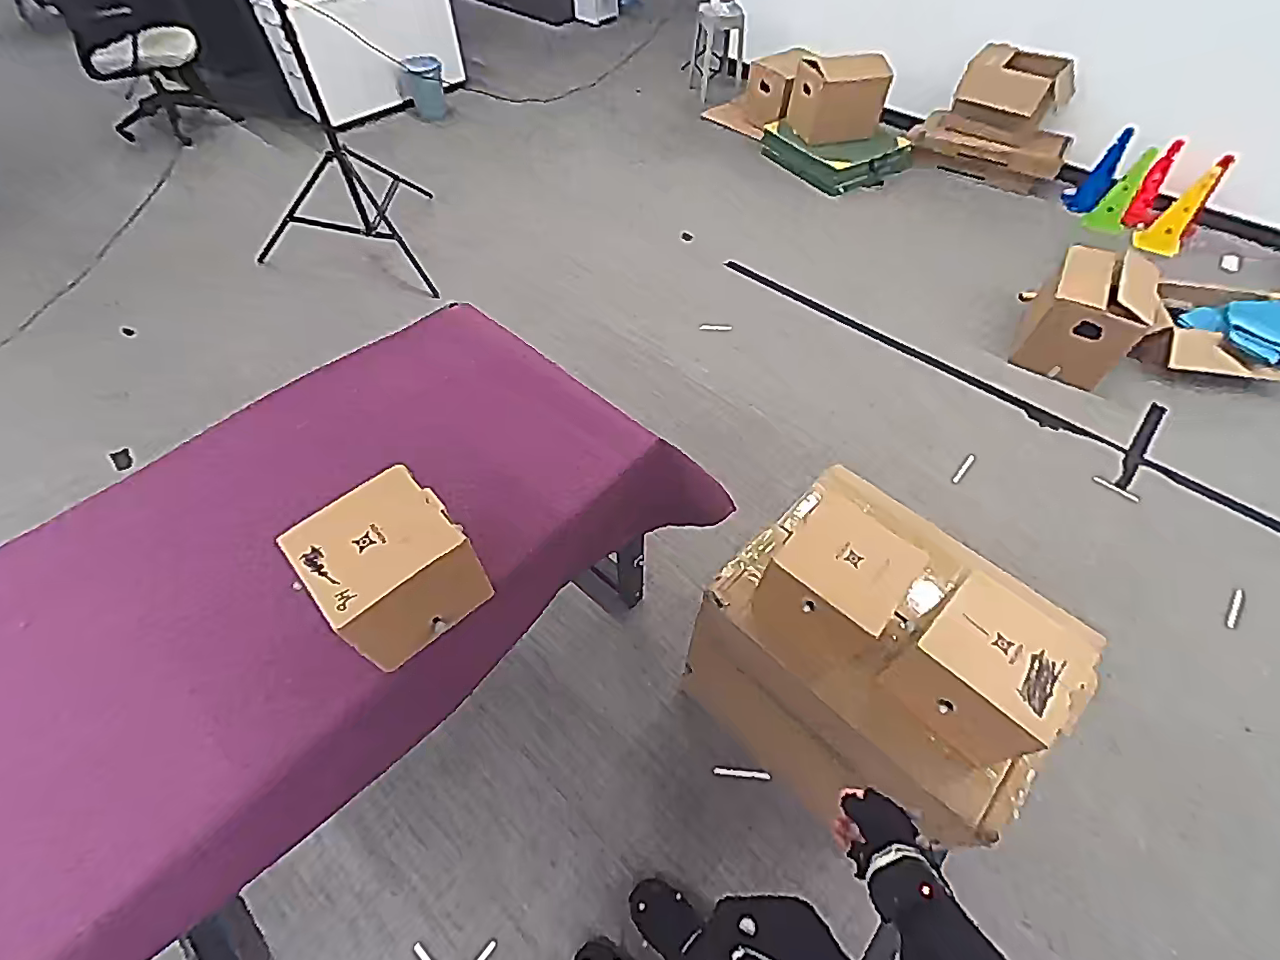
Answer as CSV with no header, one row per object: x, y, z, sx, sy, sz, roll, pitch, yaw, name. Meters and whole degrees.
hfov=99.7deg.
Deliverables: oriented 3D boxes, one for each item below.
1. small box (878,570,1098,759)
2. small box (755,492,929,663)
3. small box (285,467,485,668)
0.480,0.269,0.772,0.168,0.176,0.179,-38,61,-24,small box
0.304,0.158,0.852,0.179,0.176,0.168,38,64,22,small box
-0.332,0.122,0.742,0.179,0.176,0.168,-37,62,-25,small box
